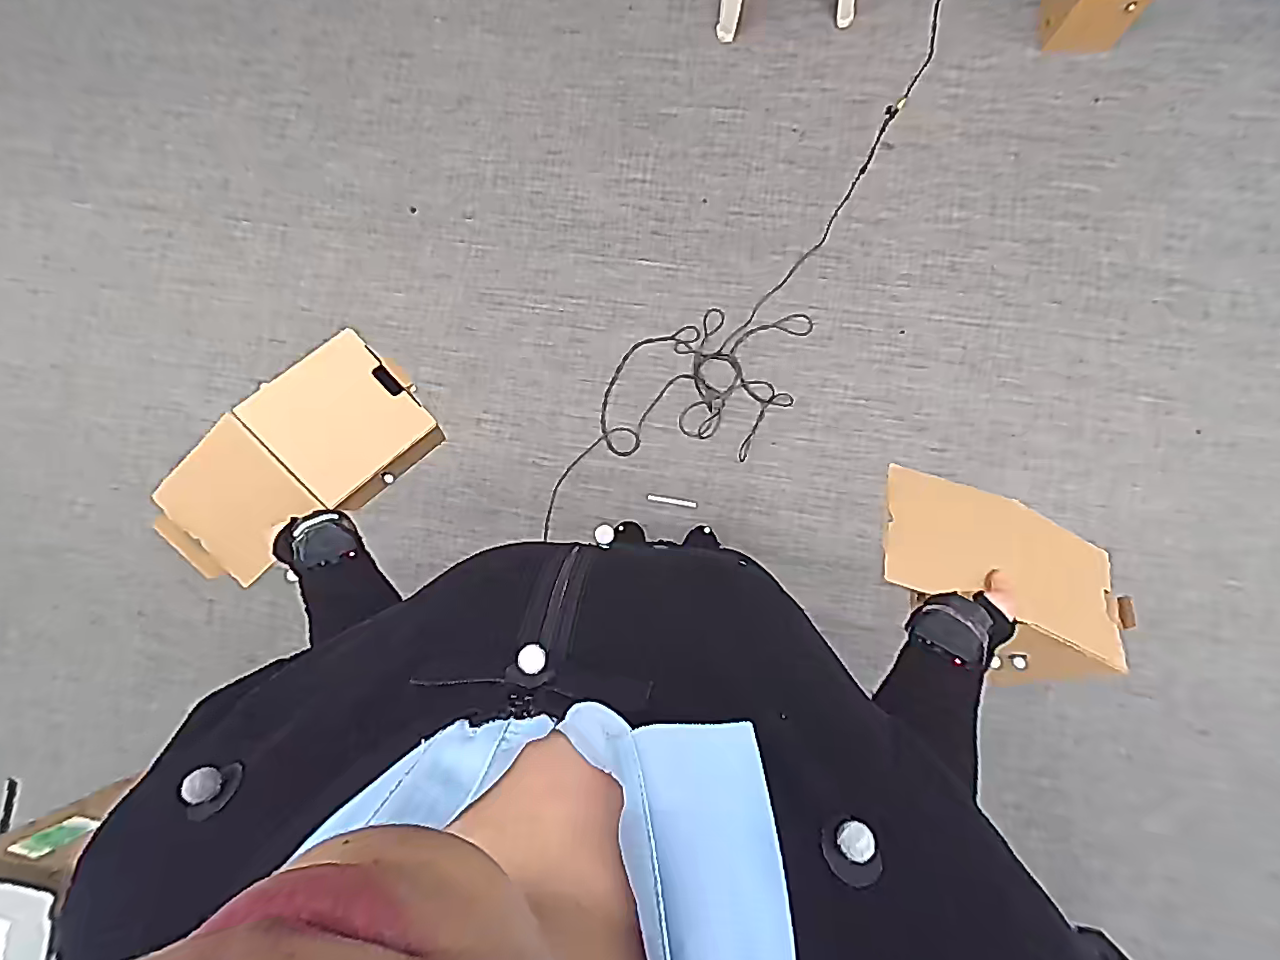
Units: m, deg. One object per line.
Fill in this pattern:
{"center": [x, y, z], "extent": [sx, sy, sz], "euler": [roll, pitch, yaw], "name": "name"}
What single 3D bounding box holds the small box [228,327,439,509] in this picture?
{"center": [-0.402, -0.074, 0.751], "extent": [0.179, 0.176, 0.168], "euler": [-43, 99, -14], "name": "small box"}
